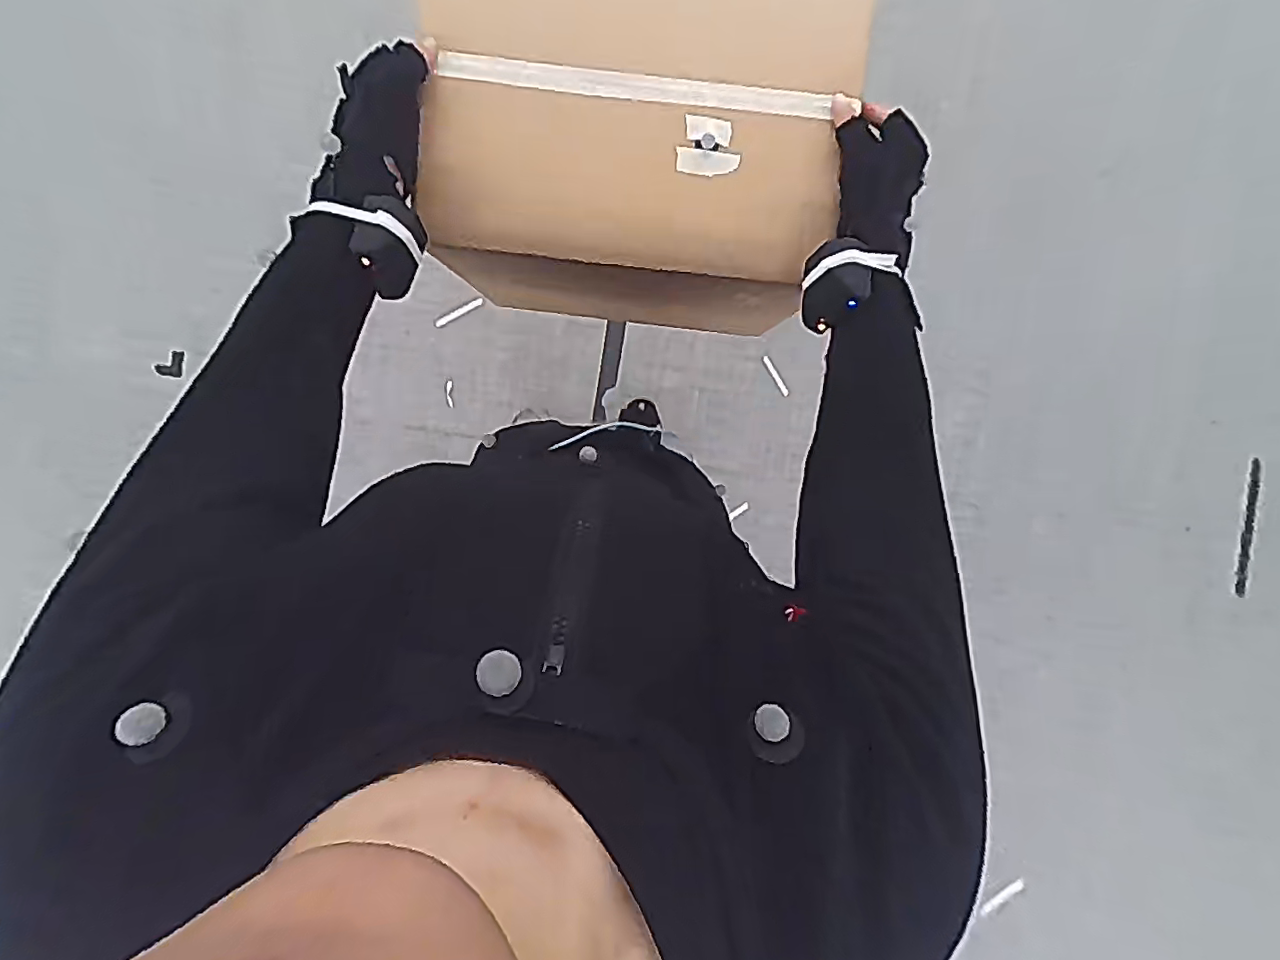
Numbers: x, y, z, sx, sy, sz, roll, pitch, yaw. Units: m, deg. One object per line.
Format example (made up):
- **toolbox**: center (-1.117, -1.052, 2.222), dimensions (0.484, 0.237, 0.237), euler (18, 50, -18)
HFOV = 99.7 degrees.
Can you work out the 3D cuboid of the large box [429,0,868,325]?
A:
- **large box**: center (0.002, -0.385, 0.654), dimensions (0.408, 0.320, 0.320), euler (5, 97, -2)
